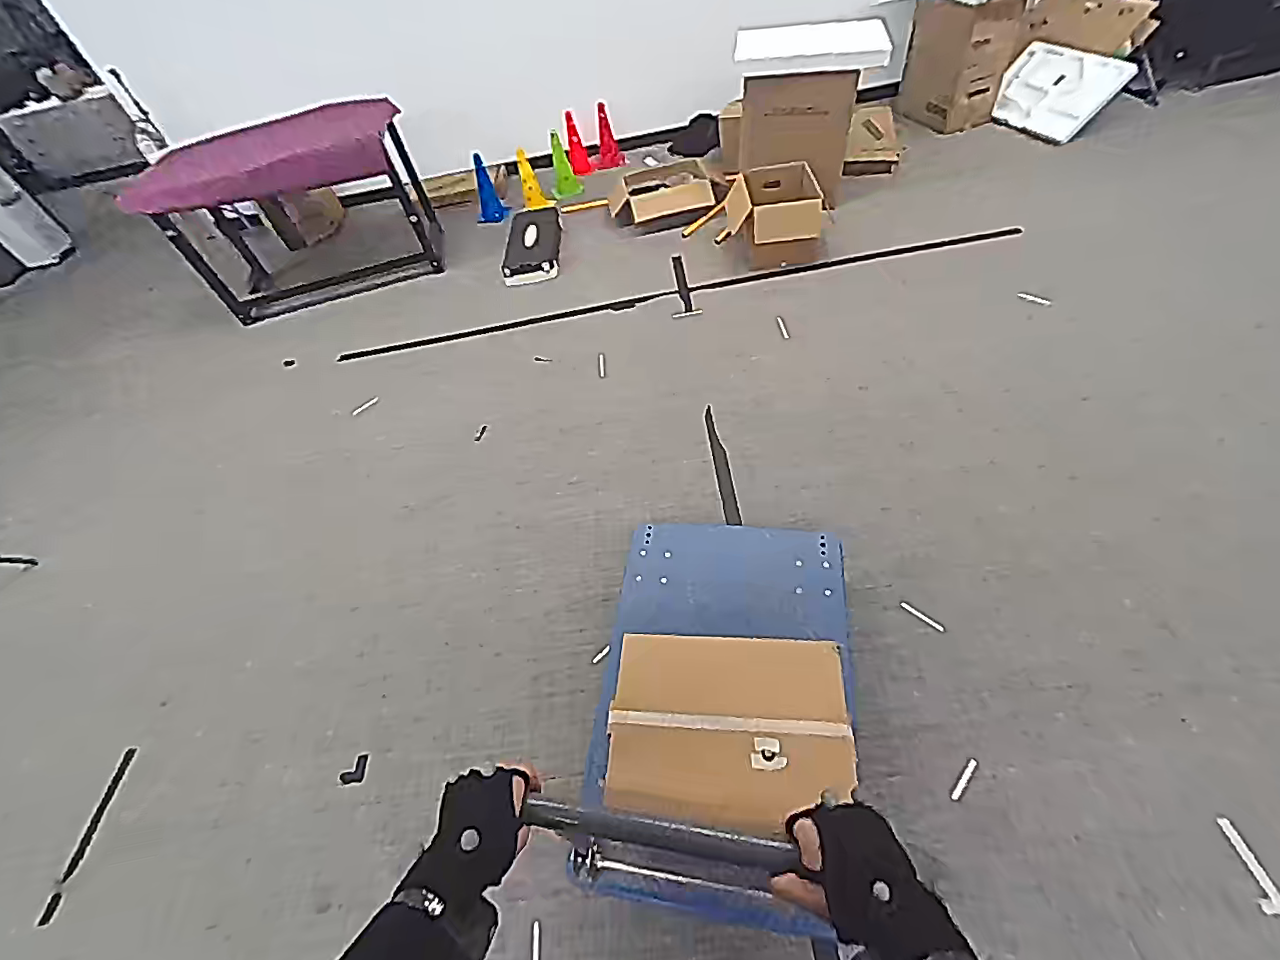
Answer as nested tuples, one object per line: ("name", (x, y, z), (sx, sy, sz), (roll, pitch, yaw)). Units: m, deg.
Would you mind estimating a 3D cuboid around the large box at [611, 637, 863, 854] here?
("large box", (0.175, 0.520, 1.059), (0.408, 0.320, 0.320), (-1, 51, 9))
